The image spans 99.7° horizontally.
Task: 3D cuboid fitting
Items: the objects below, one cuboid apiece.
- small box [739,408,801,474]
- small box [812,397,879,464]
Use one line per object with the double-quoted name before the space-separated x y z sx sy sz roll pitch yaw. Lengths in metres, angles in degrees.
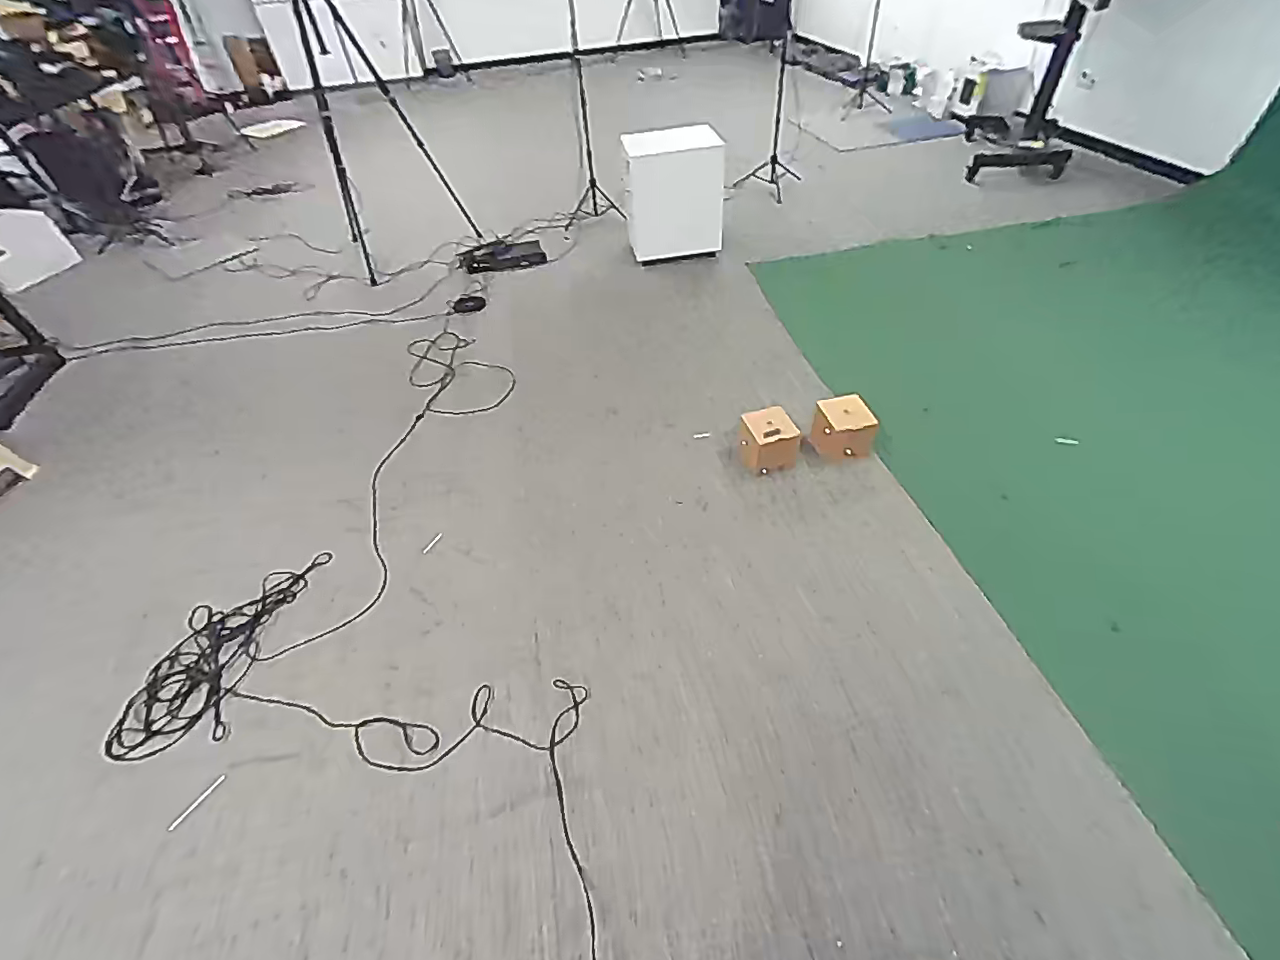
"small box" 0.482 -0.140 2.028 0.168 0.176 0.179 -13 46 -8
"small box" 0.770 -0.188 2.051 0.168 0.176 0.179 -11 47 -5
